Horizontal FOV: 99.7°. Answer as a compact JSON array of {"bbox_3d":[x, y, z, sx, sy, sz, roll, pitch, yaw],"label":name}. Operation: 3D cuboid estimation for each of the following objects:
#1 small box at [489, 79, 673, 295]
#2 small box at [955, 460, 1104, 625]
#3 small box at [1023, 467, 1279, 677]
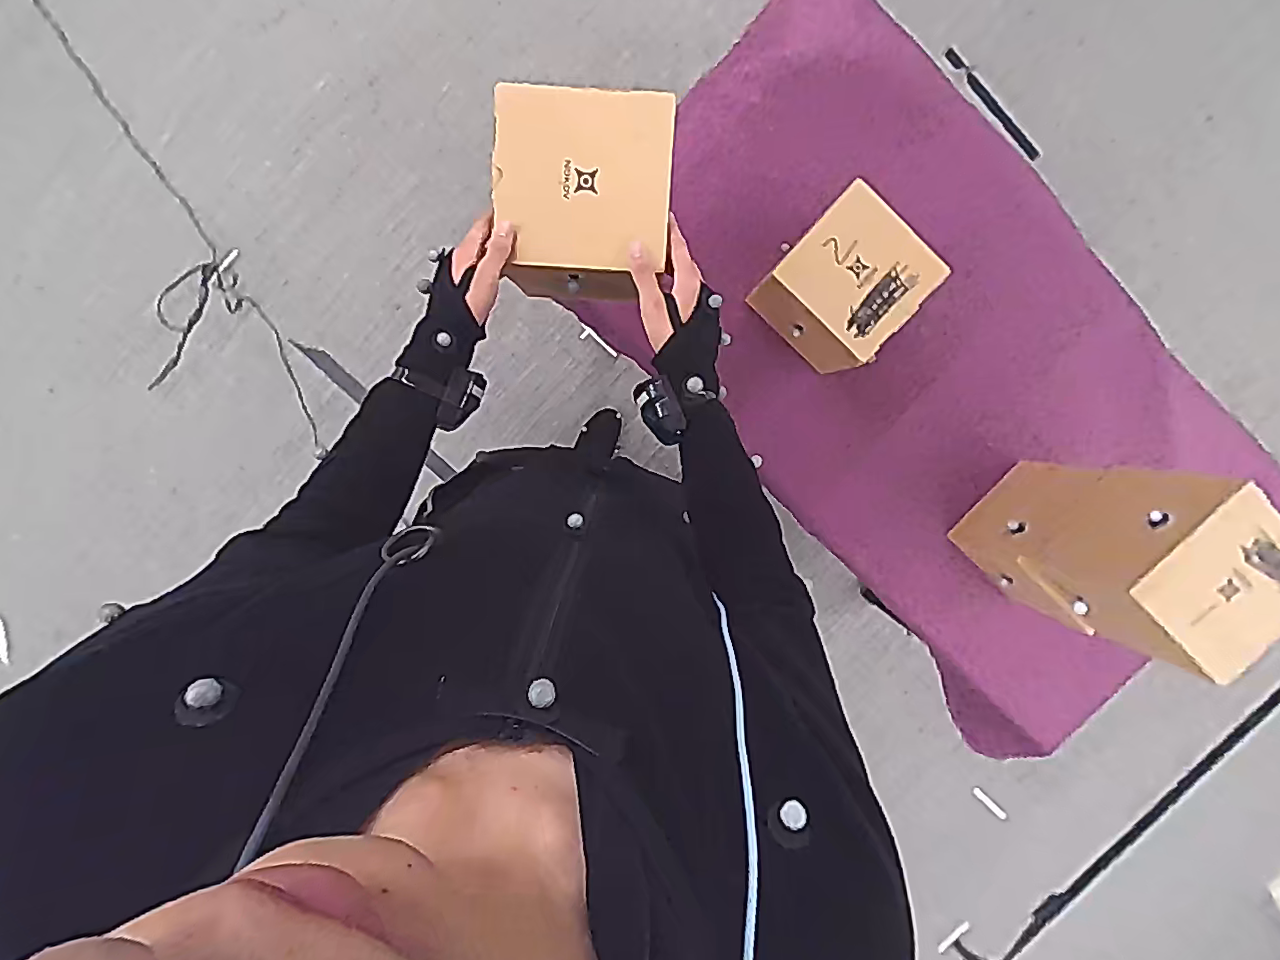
[{"bbox_3d":[-0.058,-0.307,0.603,0.179,0.176,0.168,3,99,1],"label":"small box"},{"bbox_3d":[0.637,0.087,0.847,0.168,0.176,0.179,44,94,-6],"label":"small box"},{"bbox_3d":[0.648,0.101,0.684,0.168,0.176,0.179,44,94,-5],"label":"small box"}]
